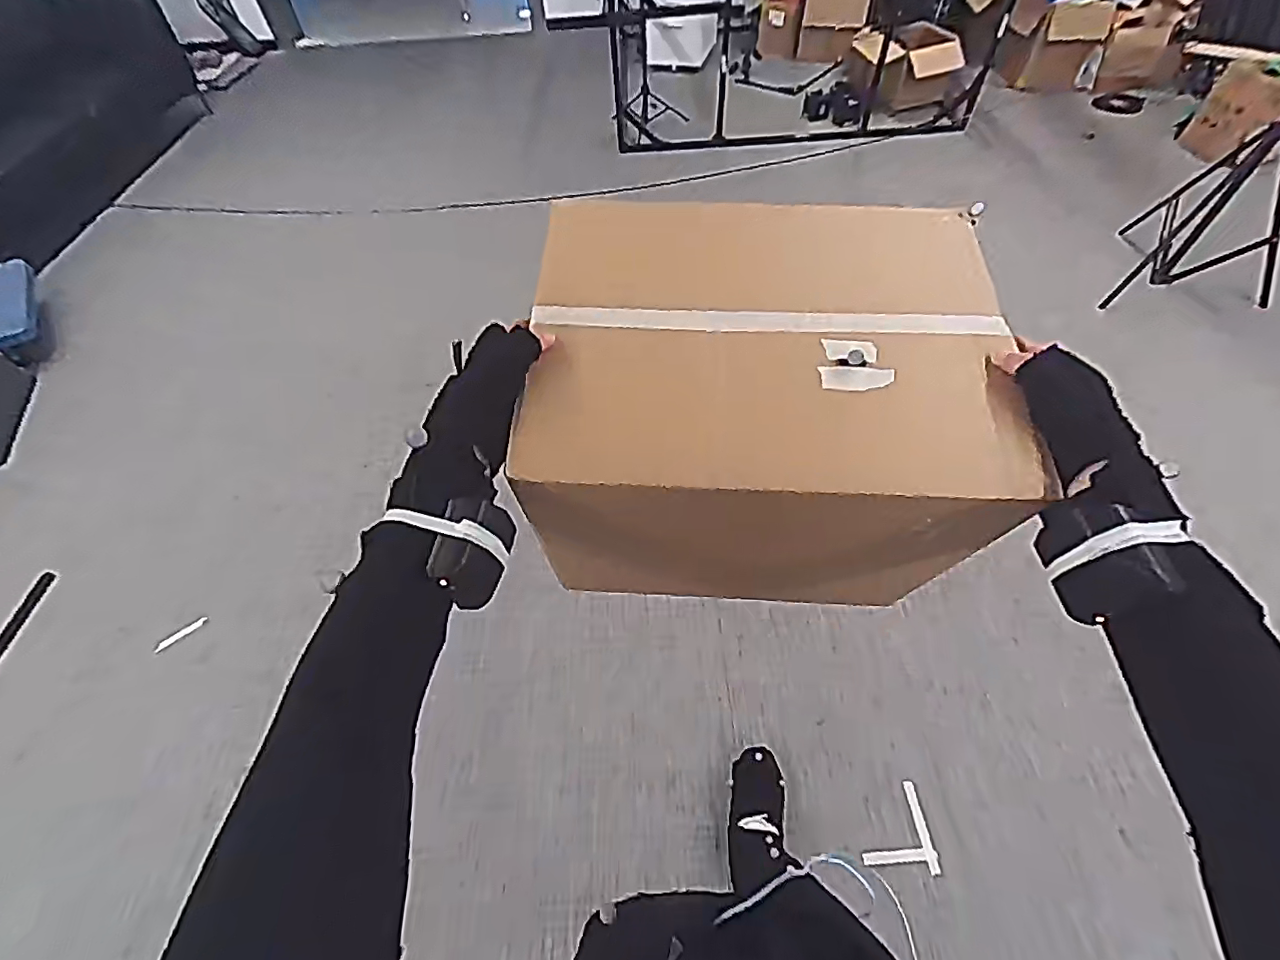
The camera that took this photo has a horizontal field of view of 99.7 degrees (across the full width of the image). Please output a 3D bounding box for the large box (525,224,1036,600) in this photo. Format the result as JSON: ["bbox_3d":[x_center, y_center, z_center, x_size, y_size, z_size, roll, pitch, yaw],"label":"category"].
[{"bbox_3d":[0.111,-0.056,0.616,0.408,0.320,0.320,2,64,2],"label":"large box"}]
